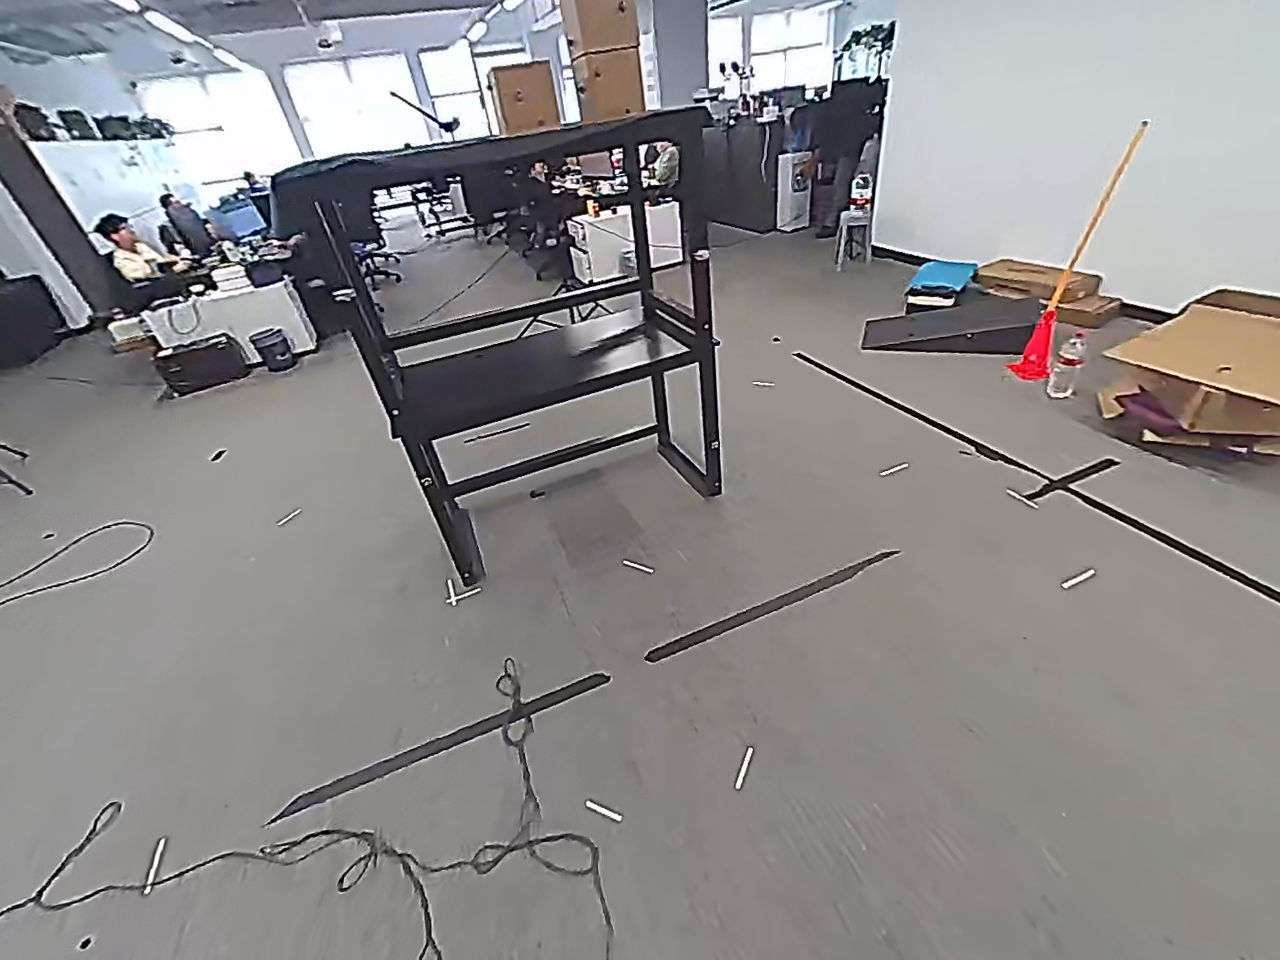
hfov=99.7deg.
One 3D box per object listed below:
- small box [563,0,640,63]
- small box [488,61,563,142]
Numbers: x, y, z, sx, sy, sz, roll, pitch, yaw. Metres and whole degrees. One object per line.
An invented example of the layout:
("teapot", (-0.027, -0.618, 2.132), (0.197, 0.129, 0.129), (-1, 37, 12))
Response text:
("small box", (-0.109, -1.309, 1.538), (0.179, 0.176, 0.168), (-20, 34, -13))
("small box", (-0.334, -1.104, 1.585), (0.168, 0.176, 0.179), (-17, 34, -12))
